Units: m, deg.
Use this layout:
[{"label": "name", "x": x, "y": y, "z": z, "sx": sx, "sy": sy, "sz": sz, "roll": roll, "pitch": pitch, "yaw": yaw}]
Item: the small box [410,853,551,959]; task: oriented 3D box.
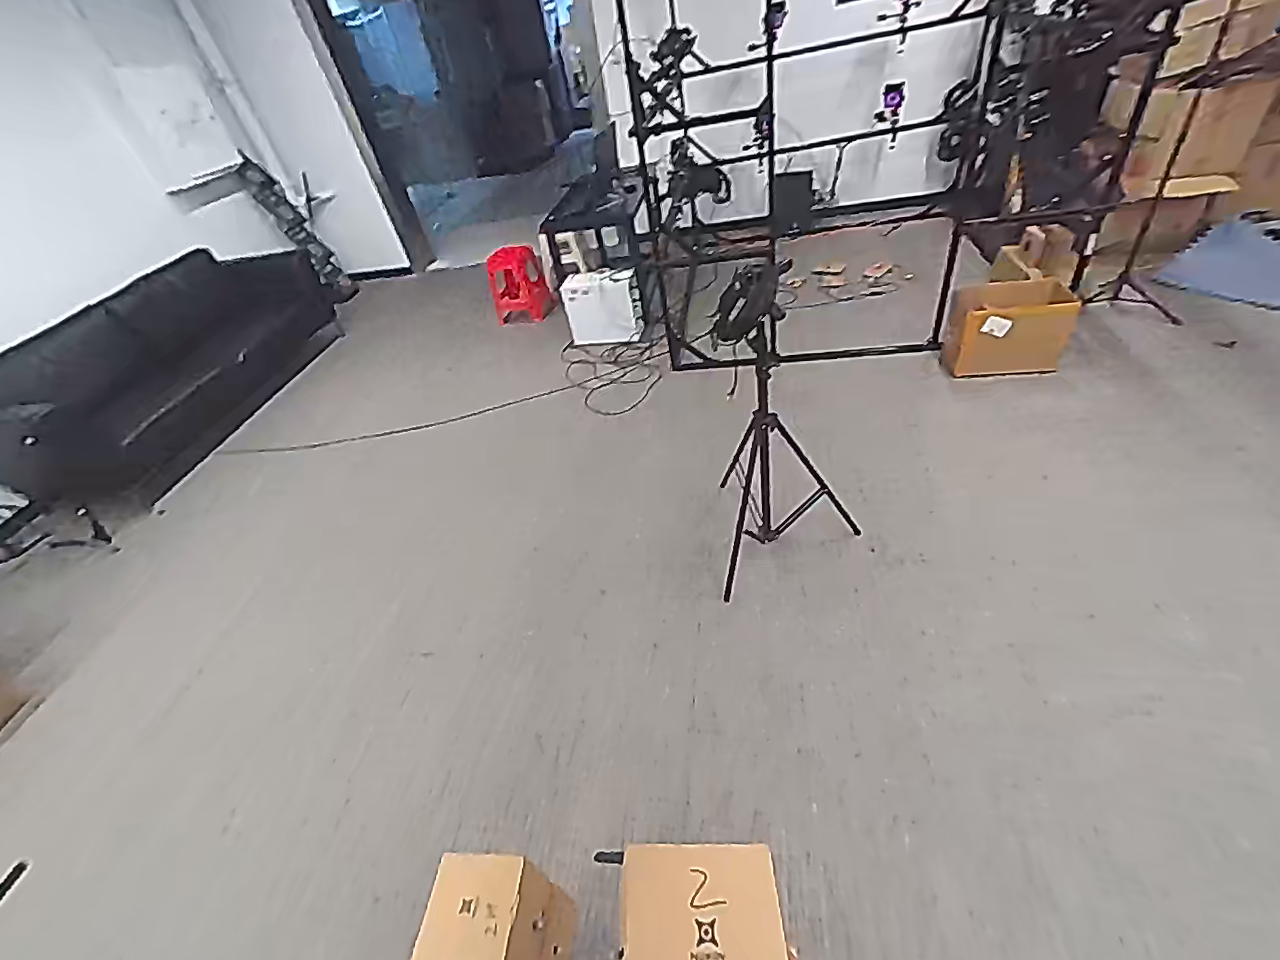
[{"label": "small box", "x": -0.287, "y": 0.828, "z": 1.017, "sx": 0.179, "sy": 0.176, "sz": 0.168, "roll": -5, "pitch": 40, "yaw": 11}]

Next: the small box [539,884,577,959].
[{"label": "small box", "x": -0.243, "y": 0.950, "z": 1.118, "sx": 0.168, "sy": 0.176, "sz": 0.179, "roll": 0, "pitch": 42, "yaw": 17}]

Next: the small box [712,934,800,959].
[{"label": "small box", "x": 0.238, "y": 1.067, "z": 1.107, "sx": 0.179, "sy": 0.176, "sz": 0.168, "roll": -1, "pitch": 42, "yaw": 13}]
